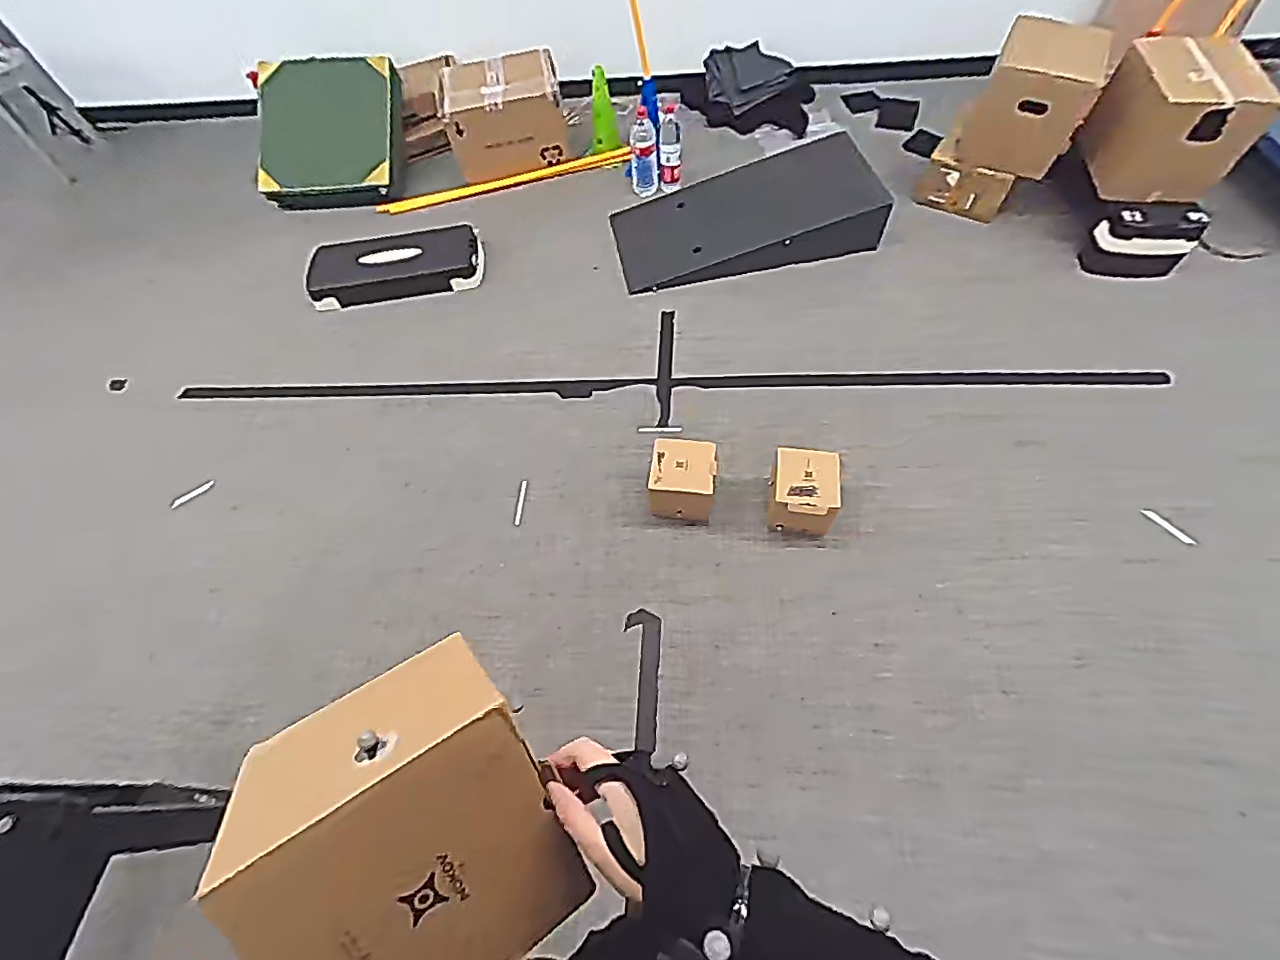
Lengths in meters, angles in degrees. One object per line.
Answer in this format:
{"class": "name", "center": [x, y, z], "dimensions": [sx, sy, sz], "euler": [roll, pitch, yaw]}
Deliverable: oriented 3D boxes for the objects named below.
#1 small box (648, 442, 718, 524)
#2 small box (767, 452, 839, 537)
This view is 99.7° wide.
{"class": "small box", "center": [0.122, 0.013, 1.543], "dimensions": [0.179, 0.176, 0.168], "euler": [6, 60, 7]}
{"class": "small box", "center": [0.450, 0.044, 1.503], "dimensions": [0.168, 0.176, 0.179], "euler": [6, 60, 7]}
